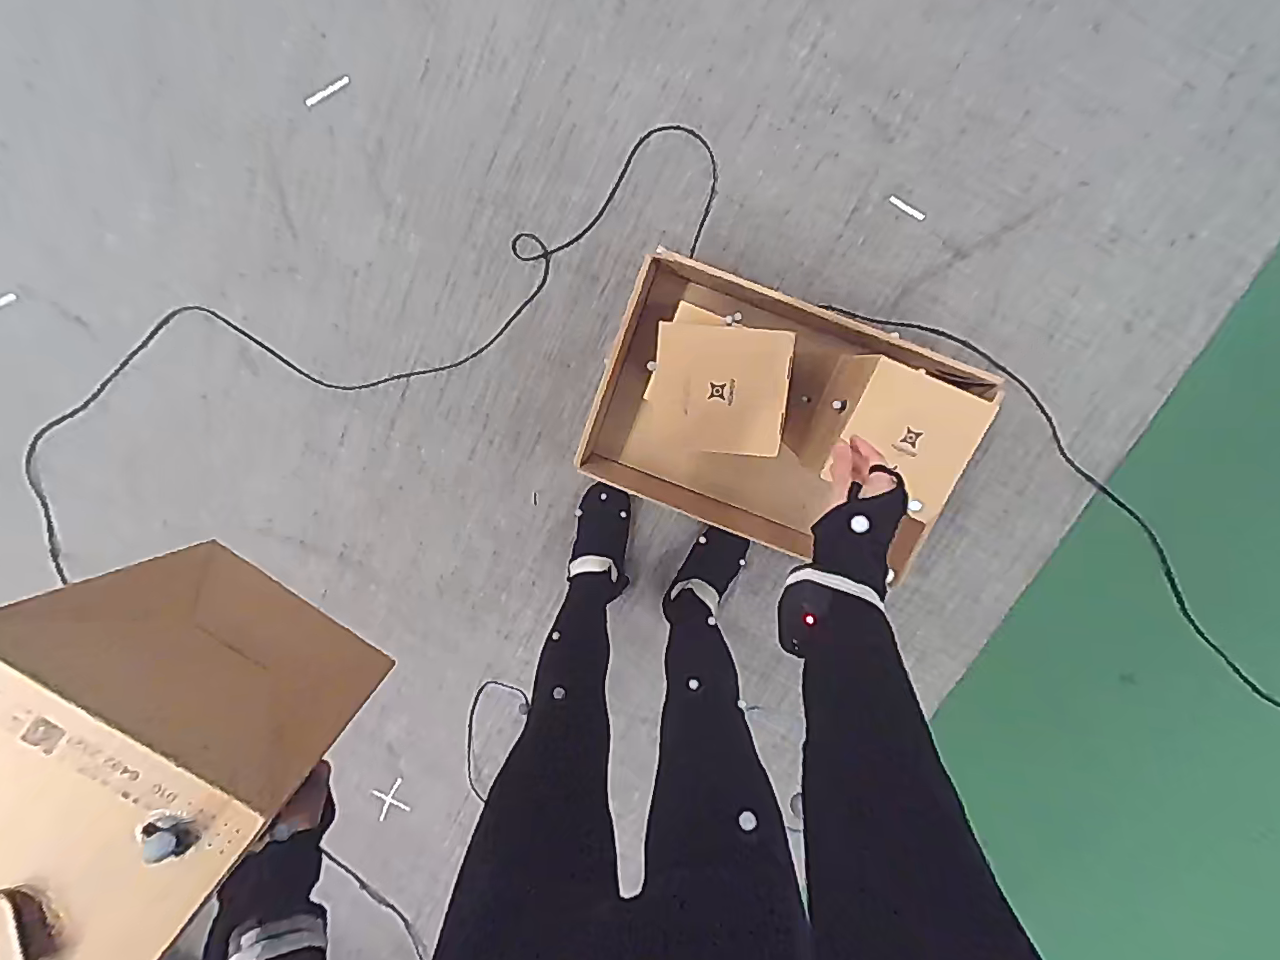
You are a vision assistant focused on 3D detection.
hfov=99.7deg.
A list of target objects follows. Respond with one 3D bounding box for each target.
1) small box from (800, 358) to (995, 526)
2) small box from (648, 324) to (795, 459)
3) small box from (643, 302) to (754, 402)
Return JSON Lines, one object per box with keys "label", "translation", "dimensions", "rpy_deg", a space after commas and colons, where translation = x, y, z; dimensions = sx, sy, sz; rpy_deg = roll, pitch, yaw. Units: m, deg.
{"label": "small box", "translation": [0.349, -0.064, 0.778], "dimensions": [0.168, 0.176, 0.179], "rpy_deg": [23, 105, 0]}
{"label": "small box", "translation": [0.109, -0.135, 0.785], "dimensions": [0.179, 0.176, 0.168], "rpy_deg": [6, 105, 3]}
{"label": "small box", "translation": [0.119, -0.192, 0.937], "dimensions": [0.179, 0.176, 0.168], "rpy_deg": [22, 105, -2]}
